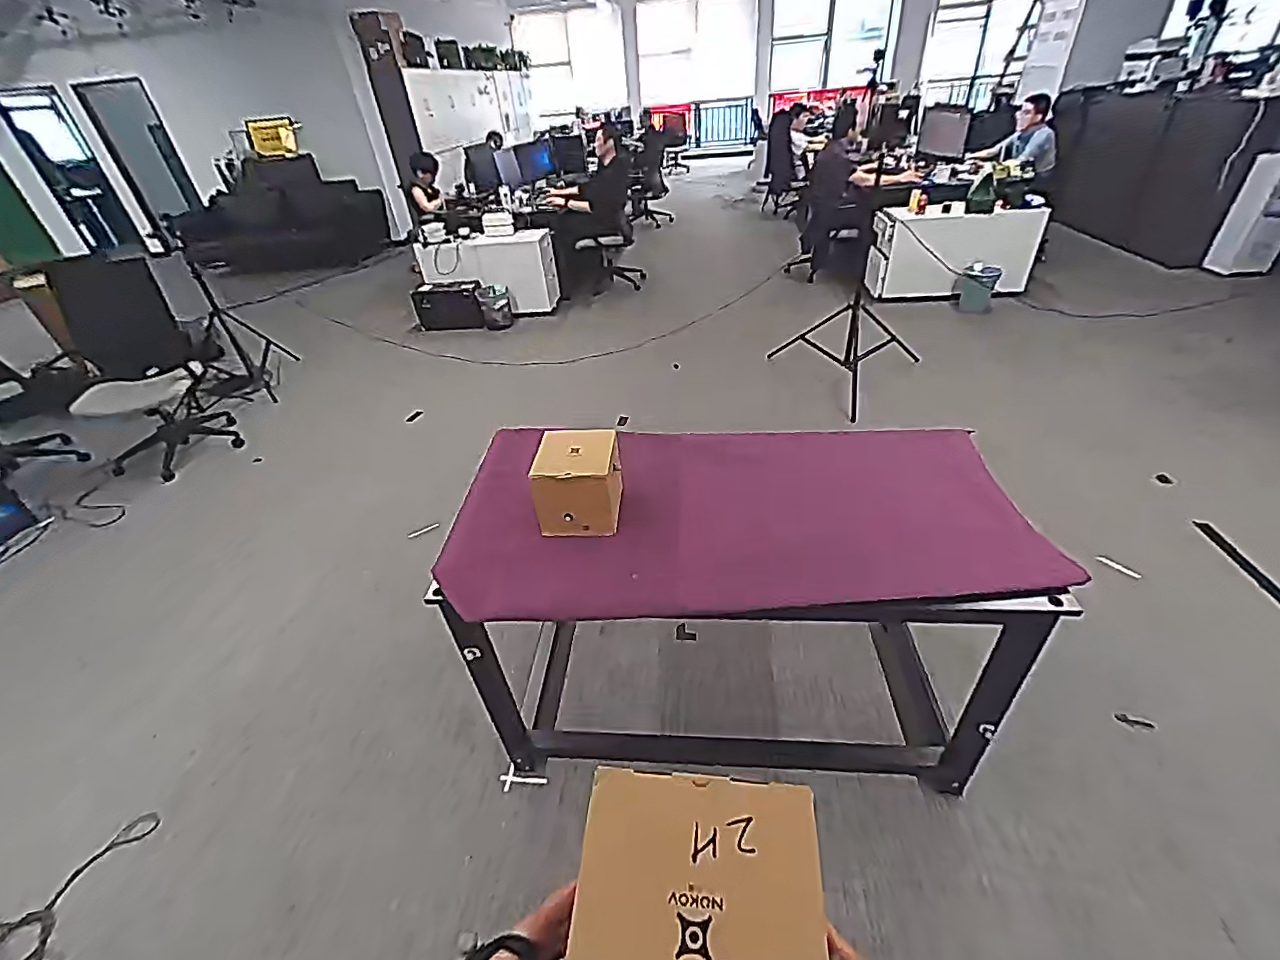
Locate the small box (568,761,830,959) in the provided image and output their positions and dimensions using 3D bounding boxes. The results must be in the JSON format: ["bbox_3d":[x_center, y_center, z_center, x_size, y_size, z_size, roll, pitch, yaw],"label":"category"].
[{"bbox_3d":[0.046,0.340,0.409,0.168,0.176,0.179,1,45,7],"label":"small box"}]

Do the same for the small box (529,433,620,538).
[{"bbox_3d":[-0.138,0.009,1.210,0.168,0.176,0.179,-1,38,5],"label":"small box"}]
